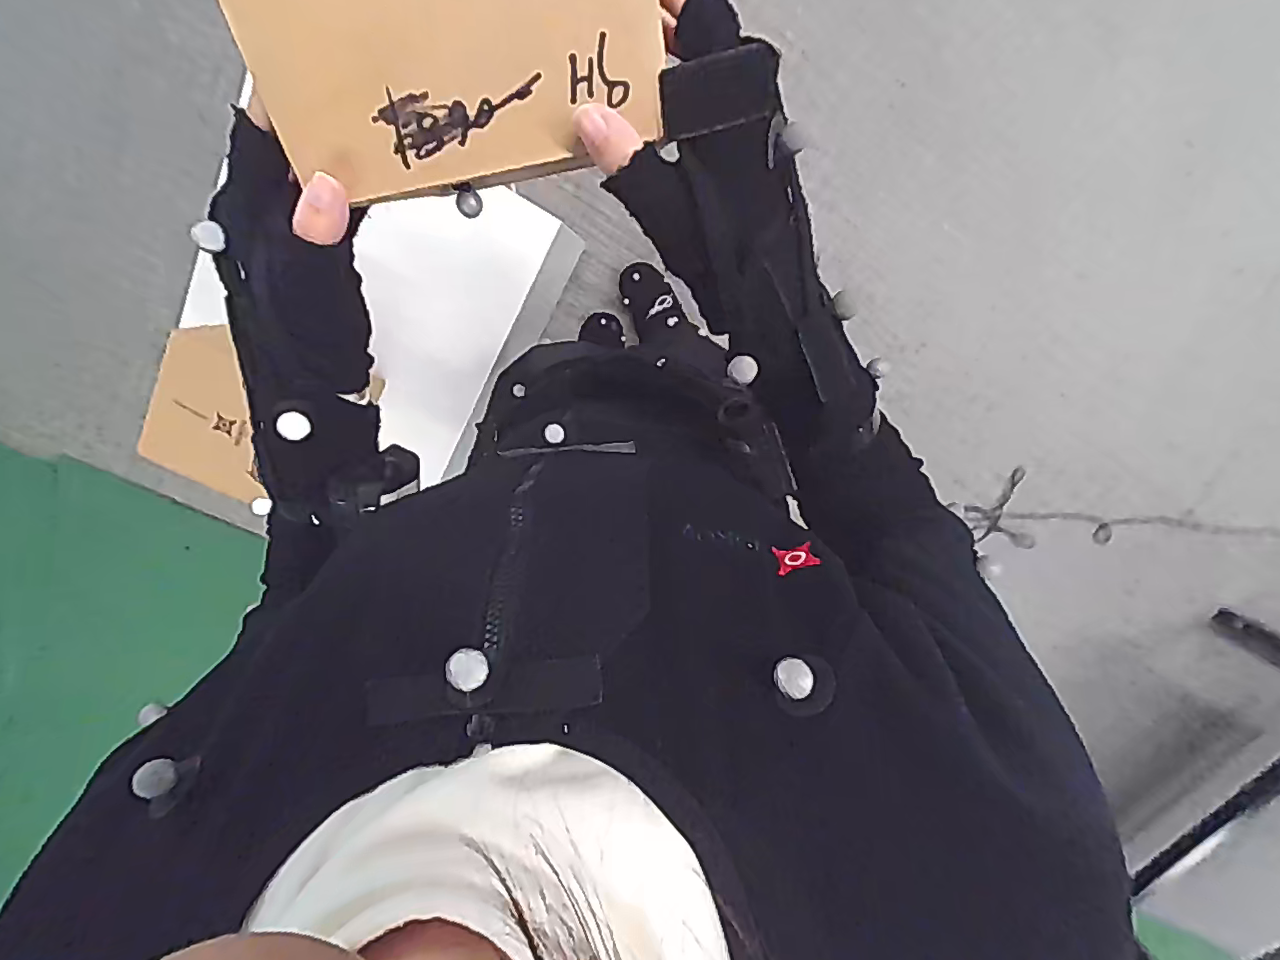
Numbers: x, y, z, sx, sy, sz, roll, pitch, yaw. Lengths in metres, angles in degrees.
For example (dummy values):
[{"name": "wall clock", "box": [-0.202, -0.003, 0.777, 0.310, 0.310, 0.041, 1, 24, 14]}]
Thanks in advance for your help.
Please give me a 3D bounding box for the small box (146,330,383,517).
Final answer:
[{"name": "small box", "box": [-0.475, -0.085, 0.712, 0.179, 0.176, 0.168, 29, 106, -11]}]
